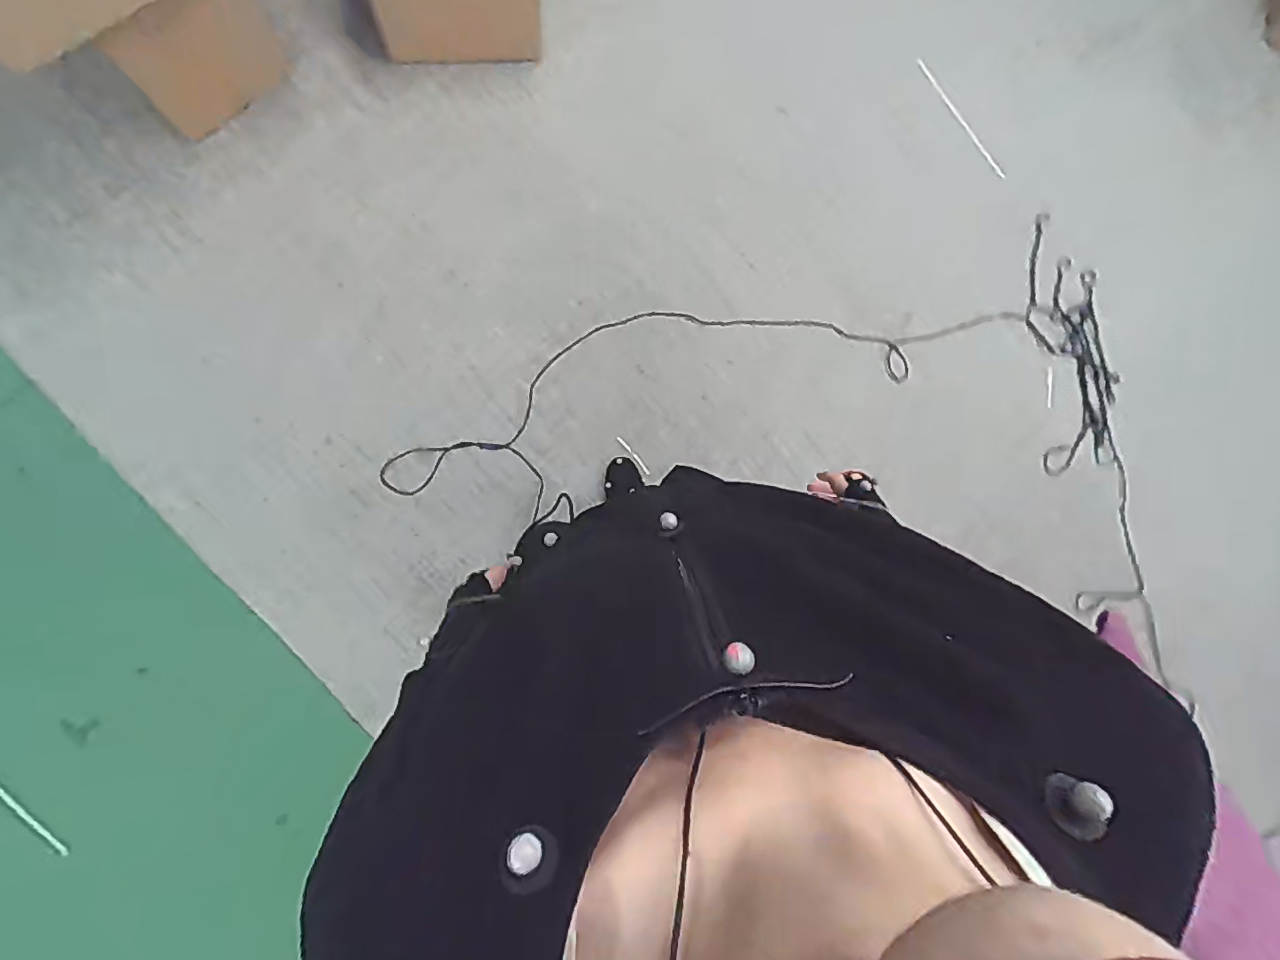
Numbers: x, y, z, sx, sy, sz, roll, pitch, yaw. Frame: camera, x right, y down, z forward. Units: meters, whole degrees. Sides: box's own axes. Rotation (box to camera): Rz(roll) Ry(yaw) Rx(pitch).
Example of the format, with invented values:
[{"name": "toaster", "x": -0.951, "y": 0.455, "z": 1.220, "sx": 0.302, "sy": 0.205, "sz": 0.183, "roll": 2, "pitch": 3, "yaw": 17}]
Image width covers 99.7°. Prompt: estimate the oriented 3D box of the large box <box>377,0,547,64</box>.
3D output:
[{"name": "large box", "x": -0.451, "y": -1.286, "z": 1.322, "sx": 0.408, "sy": 0.320, "sz": 0.320, "roll": -9, "pitch": 91, "yaw": -11}]
